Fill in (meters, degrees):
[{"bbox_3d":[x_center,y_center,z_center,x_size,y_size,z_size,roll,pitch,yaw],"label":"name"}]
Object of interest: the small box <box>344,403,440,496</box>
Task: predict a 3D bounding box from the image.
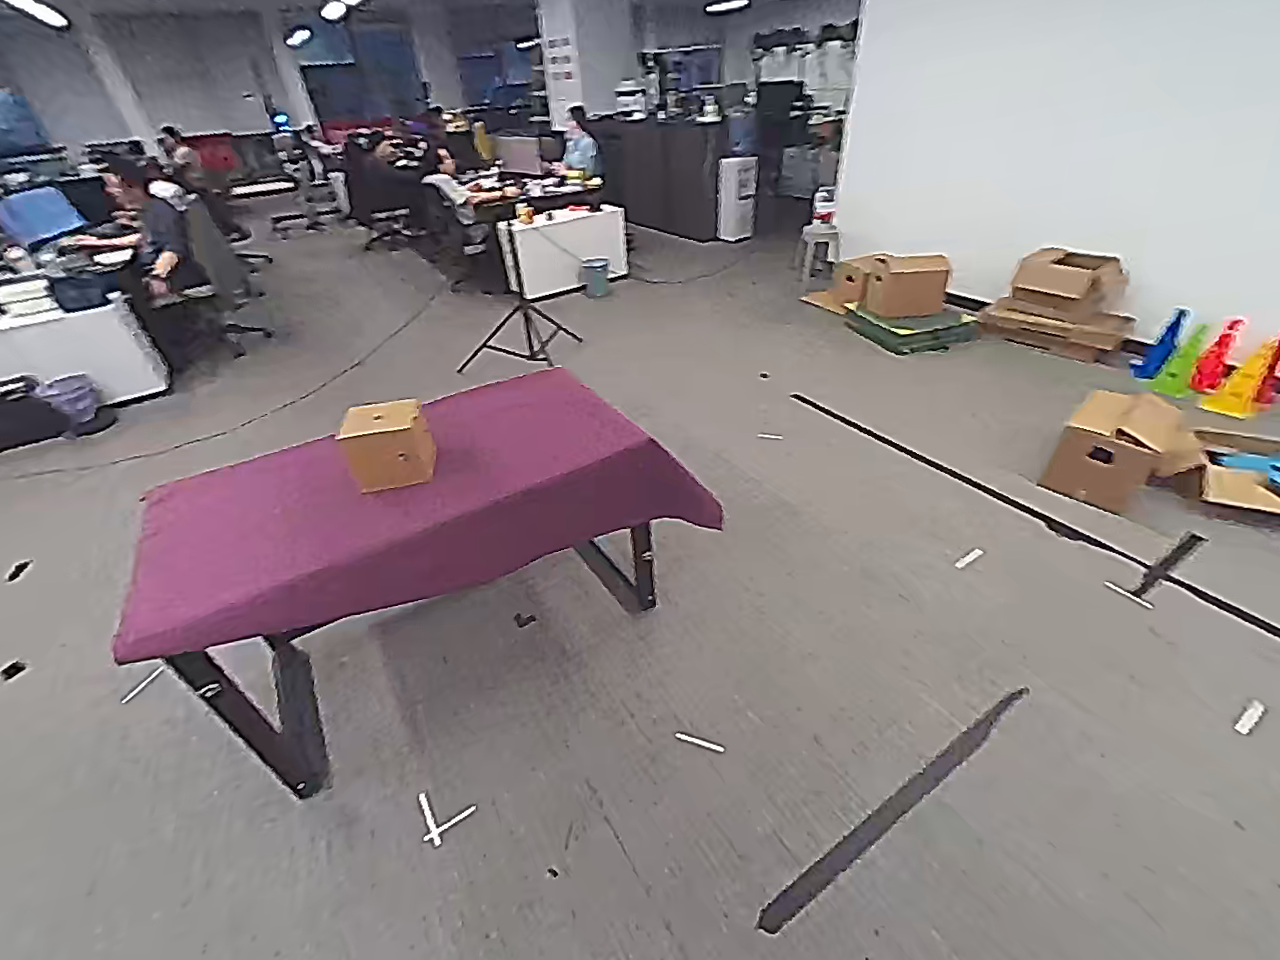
[{"bbox_3d":[-0.638,-0.080,1.418,0.179,0.176,0.168,-12,36,-8],"label":"small box"}]
